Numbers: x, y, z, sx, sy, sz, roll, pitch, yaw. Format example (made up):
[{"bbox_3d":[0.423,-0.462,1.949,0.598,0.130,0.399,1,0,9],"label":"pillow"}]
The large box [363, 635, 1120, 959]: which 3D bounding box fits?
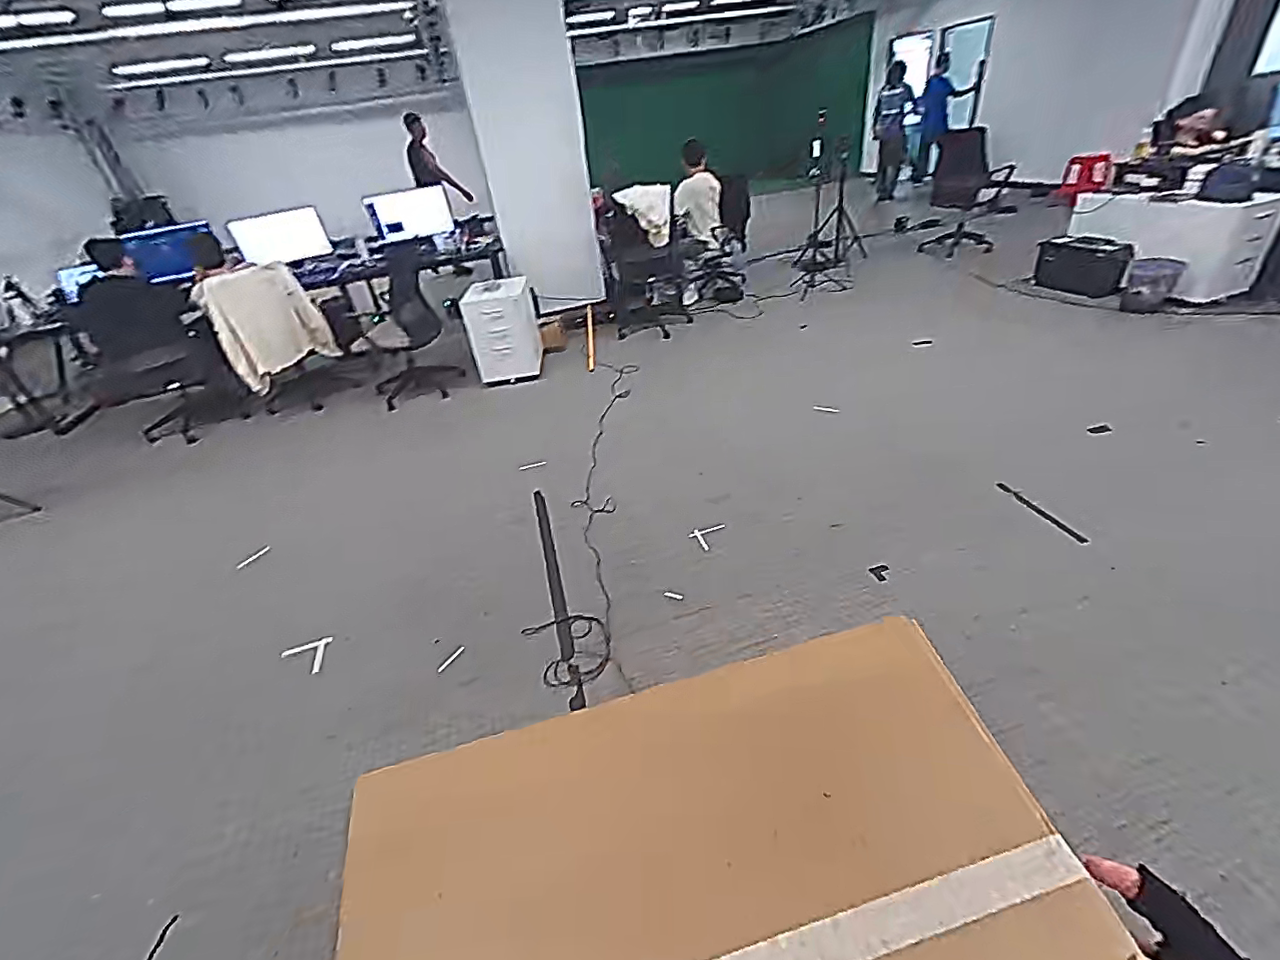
[{"bbox_3d":[0.064,0.370,0.394,0.408,0.320,0.320,-14,46,-6],"label":"large box"}]
